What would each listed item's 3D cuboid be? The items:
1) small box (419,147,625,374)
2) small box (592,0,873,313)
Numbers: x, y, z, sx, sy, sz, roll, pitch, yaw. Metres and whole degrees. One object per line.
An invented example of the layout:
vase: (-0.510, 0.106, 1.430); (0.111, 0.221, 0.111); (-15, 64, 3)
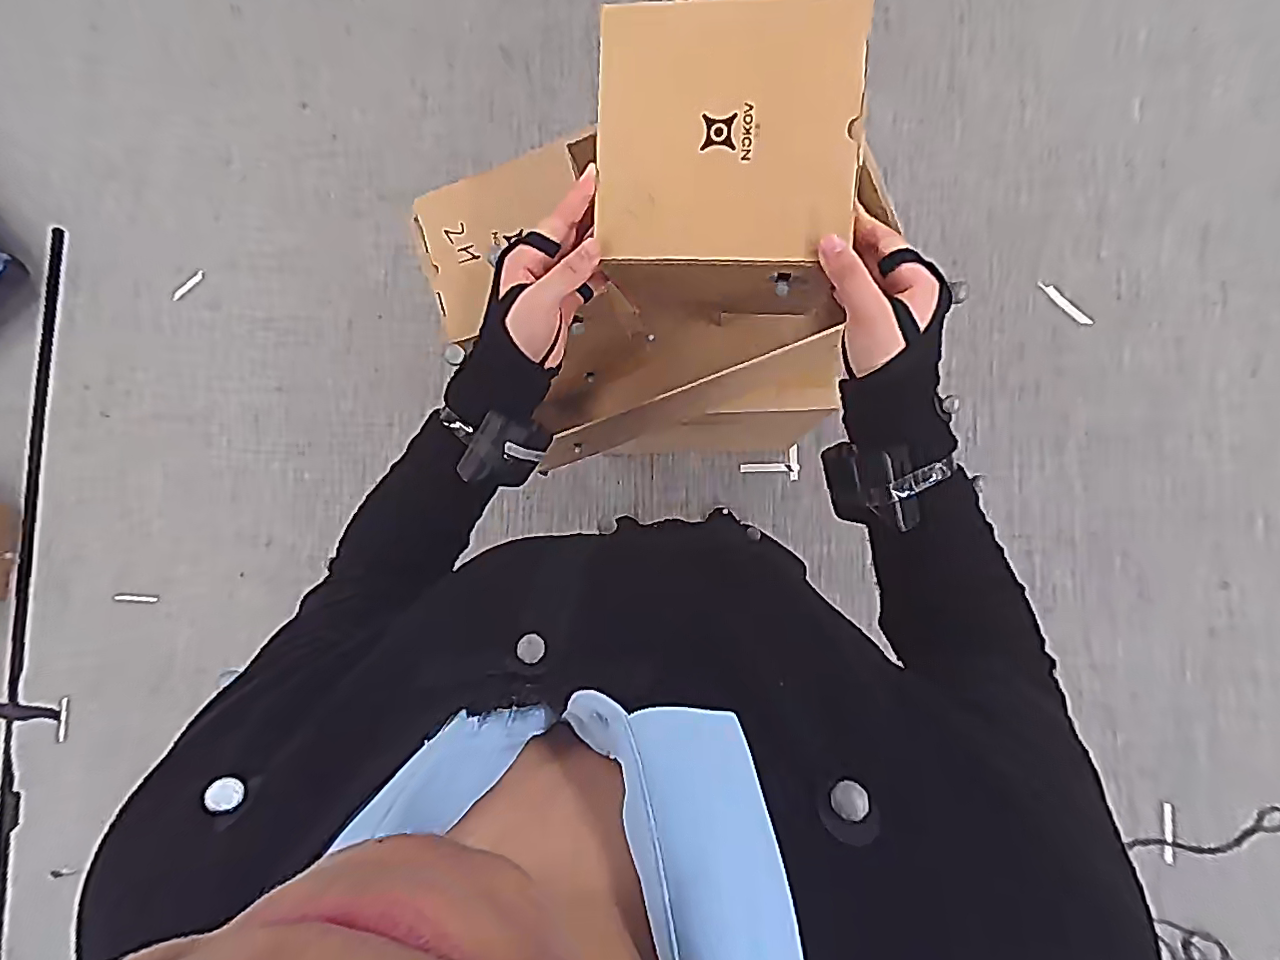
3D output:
small box: (-0.122, -0.240, 0.639); (0.179, 0.176, 0.168); (-16, 86, 6)
small box: (0.068, -0.236, 0.435); (0.179, 0.176, 0.168); (3, 95, 8)
